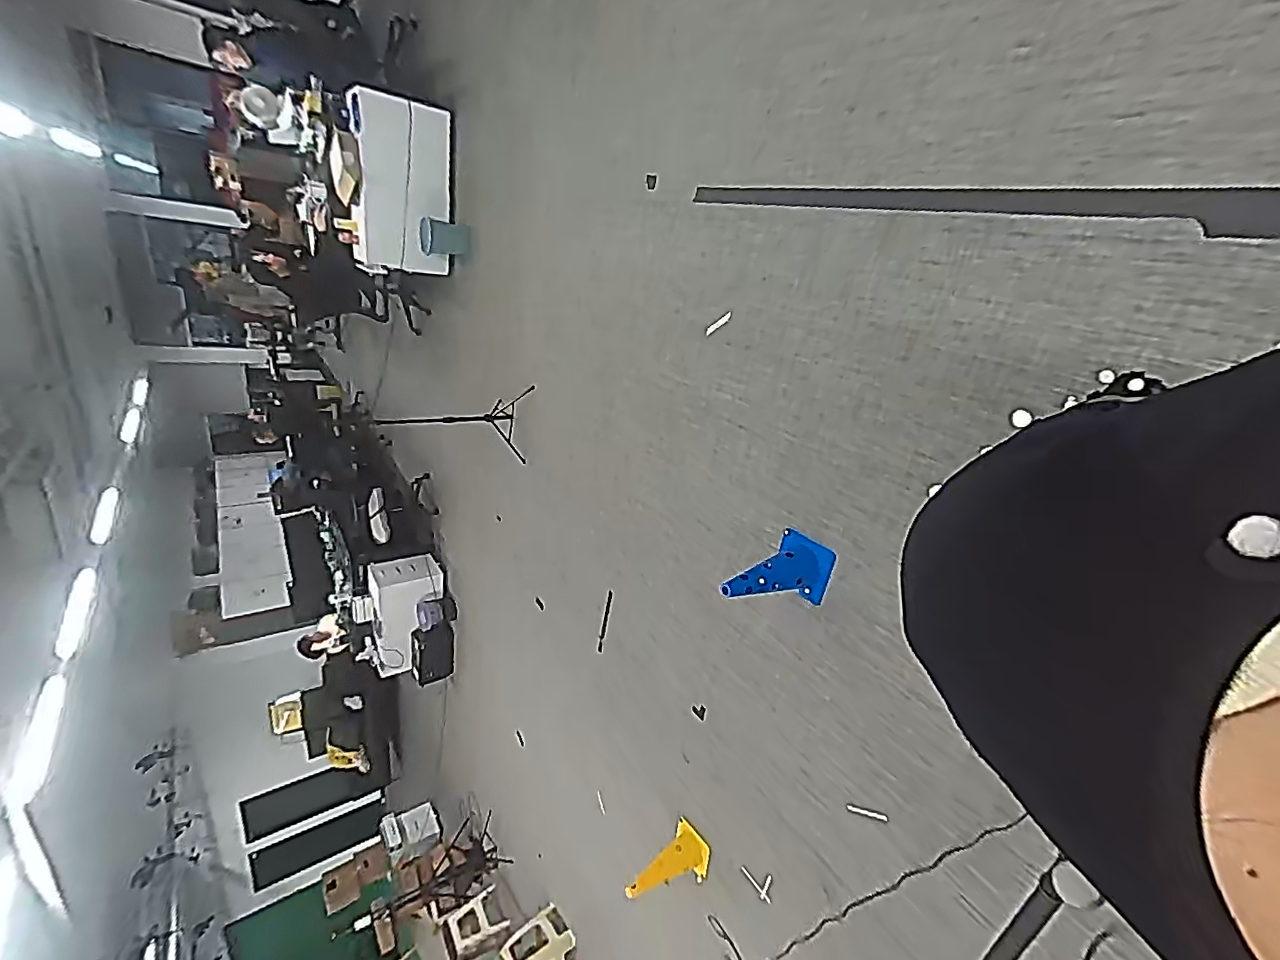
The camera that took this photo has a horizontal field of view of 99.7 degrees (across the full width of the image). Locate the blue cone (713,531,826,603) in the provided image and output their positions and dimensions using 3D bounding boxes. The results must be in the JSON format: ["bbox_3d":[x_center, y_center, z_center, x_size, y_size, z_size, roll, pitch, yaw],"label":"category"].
[{"bbox_3d":[0.380,0.300,1.657,0.192,0.380,0.193,37,125,46],"label":"blue cone"}]
